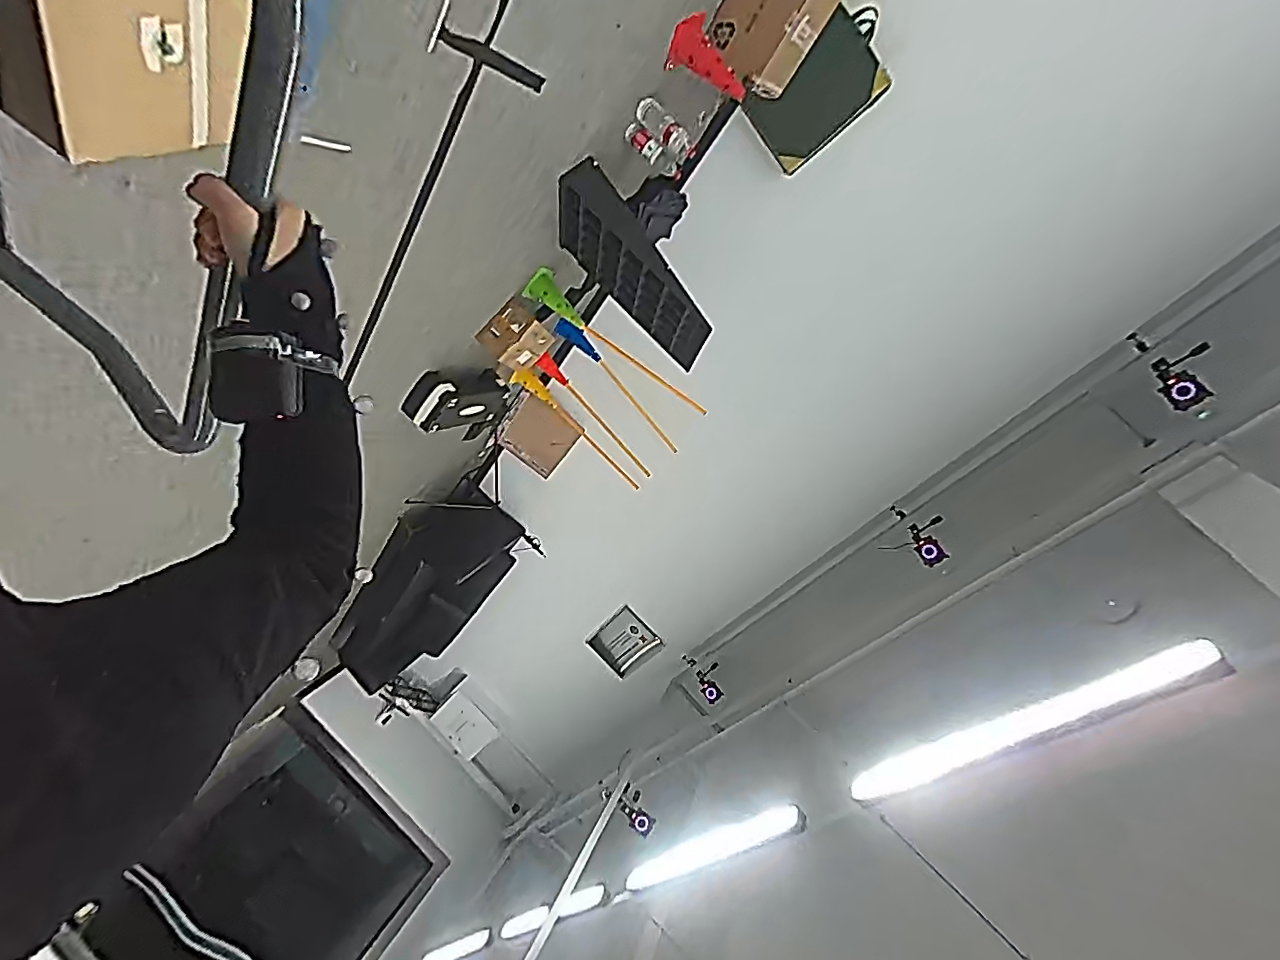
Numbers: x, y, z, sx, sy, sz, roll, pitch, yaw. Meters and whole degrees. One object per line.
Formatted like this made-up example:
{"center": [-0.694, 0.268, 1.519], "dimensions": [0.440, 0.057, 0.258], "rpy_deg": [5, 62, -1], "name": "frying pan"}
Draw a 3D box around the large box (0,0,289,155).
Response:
{"center": [-0.622, -0.656, 0.574], "dimensions": [0.408, 0.320, 0.320], "rpy_deg": [-43, -169, 41], "name": "large box"}
